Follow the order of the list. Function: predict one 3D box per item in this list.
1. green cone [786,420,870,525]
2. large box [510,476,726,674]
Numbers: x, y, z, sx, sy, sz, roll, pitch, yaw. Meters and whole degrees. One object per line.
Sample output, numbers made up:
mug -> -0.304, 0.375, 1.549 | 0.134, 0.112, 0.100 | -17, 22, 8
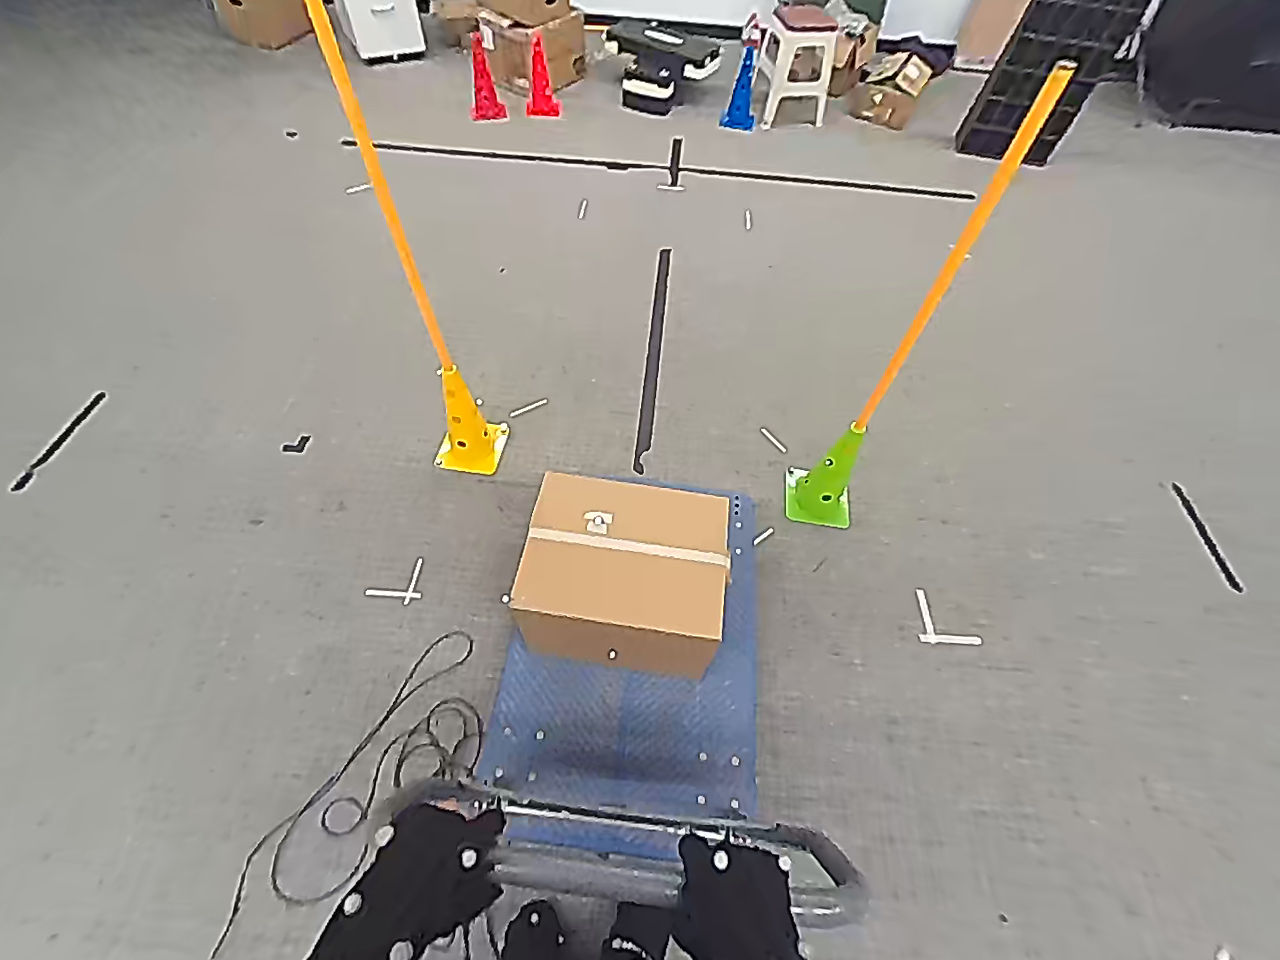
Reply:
green cone -> 0.584, -0.047, 1.605 | 0.202, 0.368, 0.200 | 10, 56, 1
large box -> -0.033, 0.222, 1.213 | 0.408, 0.320, 0.320 | 8, 56, 3
